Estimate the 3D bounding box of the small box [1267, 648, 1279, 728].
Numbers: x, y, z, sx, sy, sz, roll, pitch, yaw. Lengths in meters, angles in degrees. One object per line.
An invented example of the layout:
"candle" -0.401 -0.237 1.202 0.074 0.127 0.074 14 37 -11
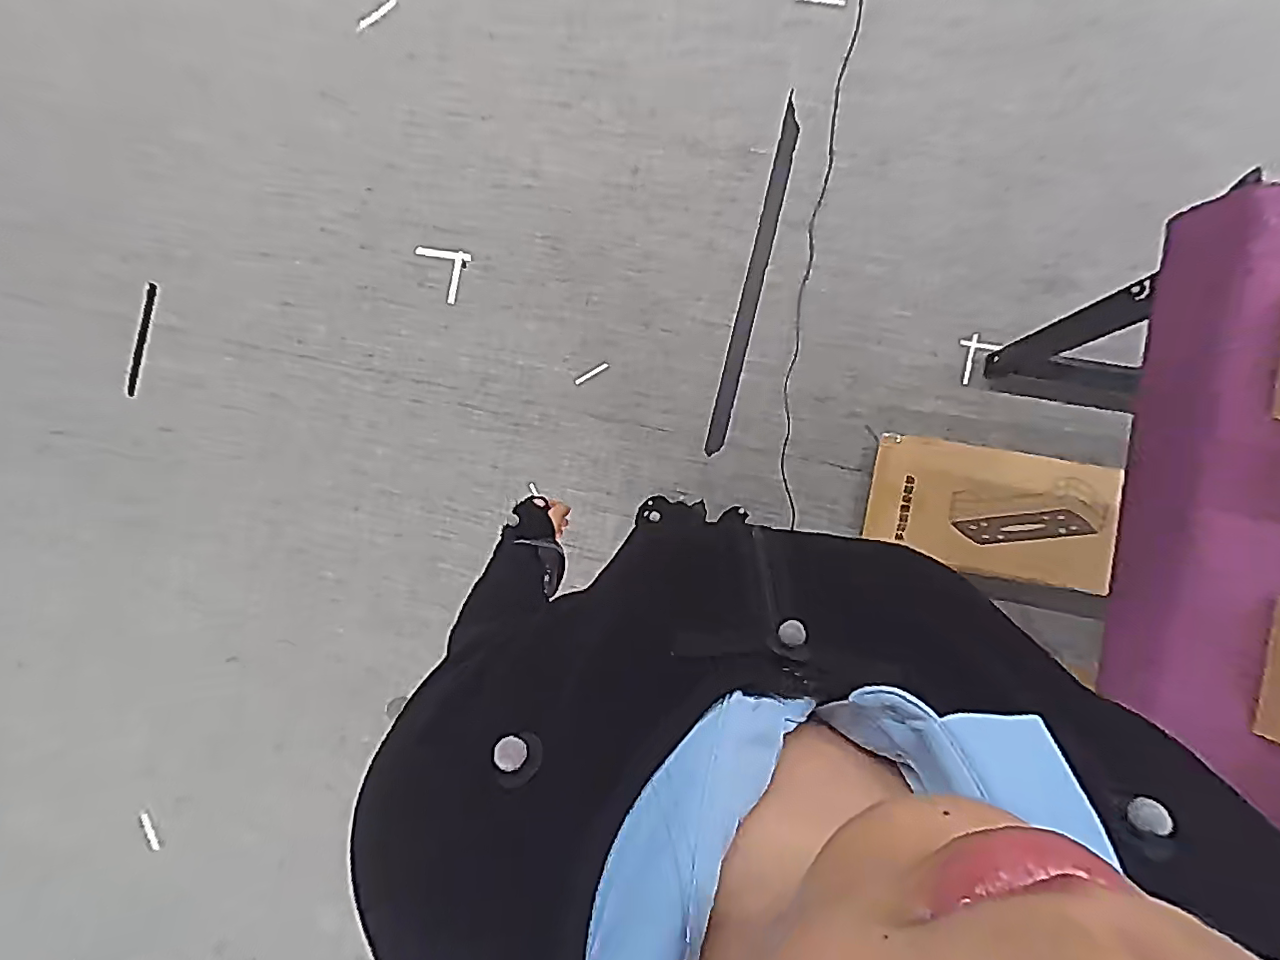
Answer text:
"small box" 0.864 0.246 0.589 0.168 0.176 0.179 10 89 4
